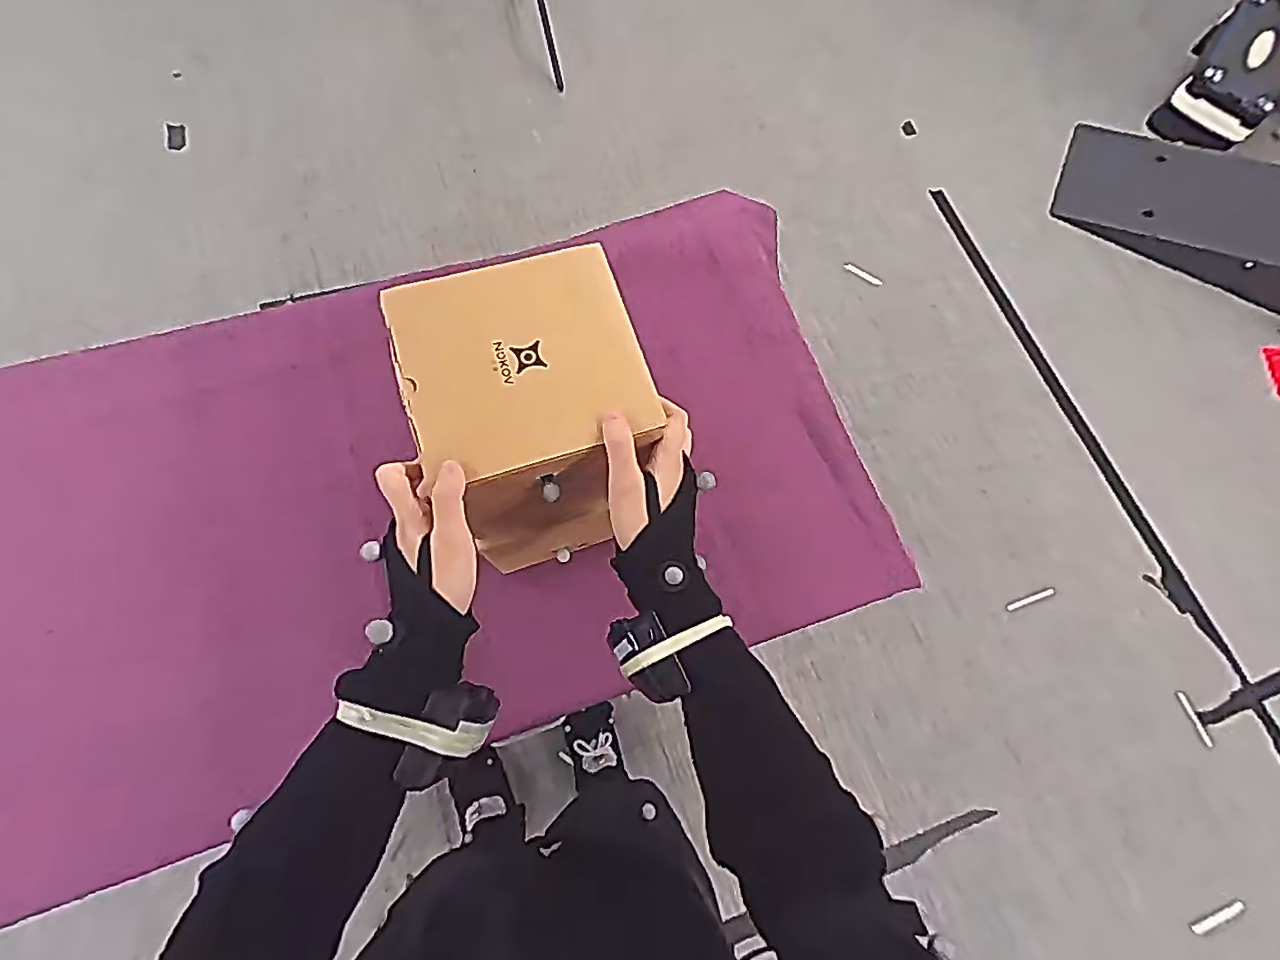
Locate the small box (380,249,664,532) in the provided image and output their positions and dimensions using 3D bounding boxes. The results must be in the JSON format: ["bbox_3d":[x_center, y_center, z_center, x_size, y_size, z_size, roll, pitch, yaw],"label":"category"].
[{"bbox_3d":[-0.096,-0.065,0.477,0.179,0.176,0.168,-17,76,-9],"label":"small box"}]

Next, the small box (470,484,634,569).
[{"bbox_3d":[-0.116,-0.010,0.629,0.168,0.176,0.179,-17,76,-10],"label":"small box"}]
